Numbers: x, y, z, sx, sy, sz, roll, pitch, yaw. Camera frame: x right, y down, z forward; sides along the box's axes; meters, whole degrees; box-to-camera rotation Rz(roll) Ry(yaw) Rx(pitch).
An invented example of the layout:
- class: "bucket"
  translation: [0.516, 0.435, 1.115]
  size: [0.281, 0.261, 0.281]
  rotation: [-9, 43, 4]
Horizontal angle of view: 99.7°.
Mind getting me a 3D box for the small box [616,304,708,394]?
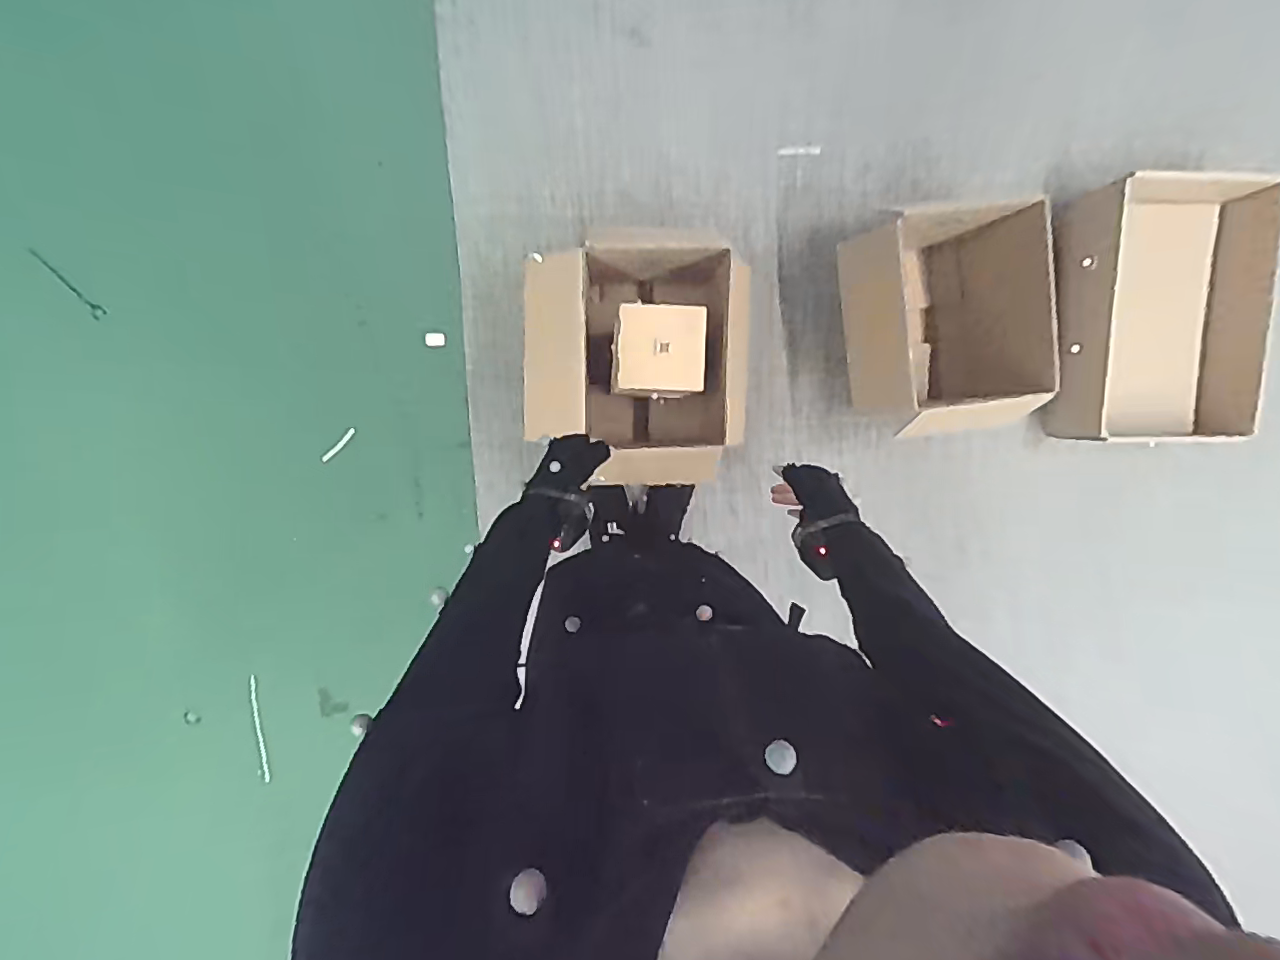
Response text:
- class: "small box"
  translation: [0.041, -0.273, 1.154]
  size: [0.179, 0.176, 0.168]
  rotation: [1, 96, -4]
